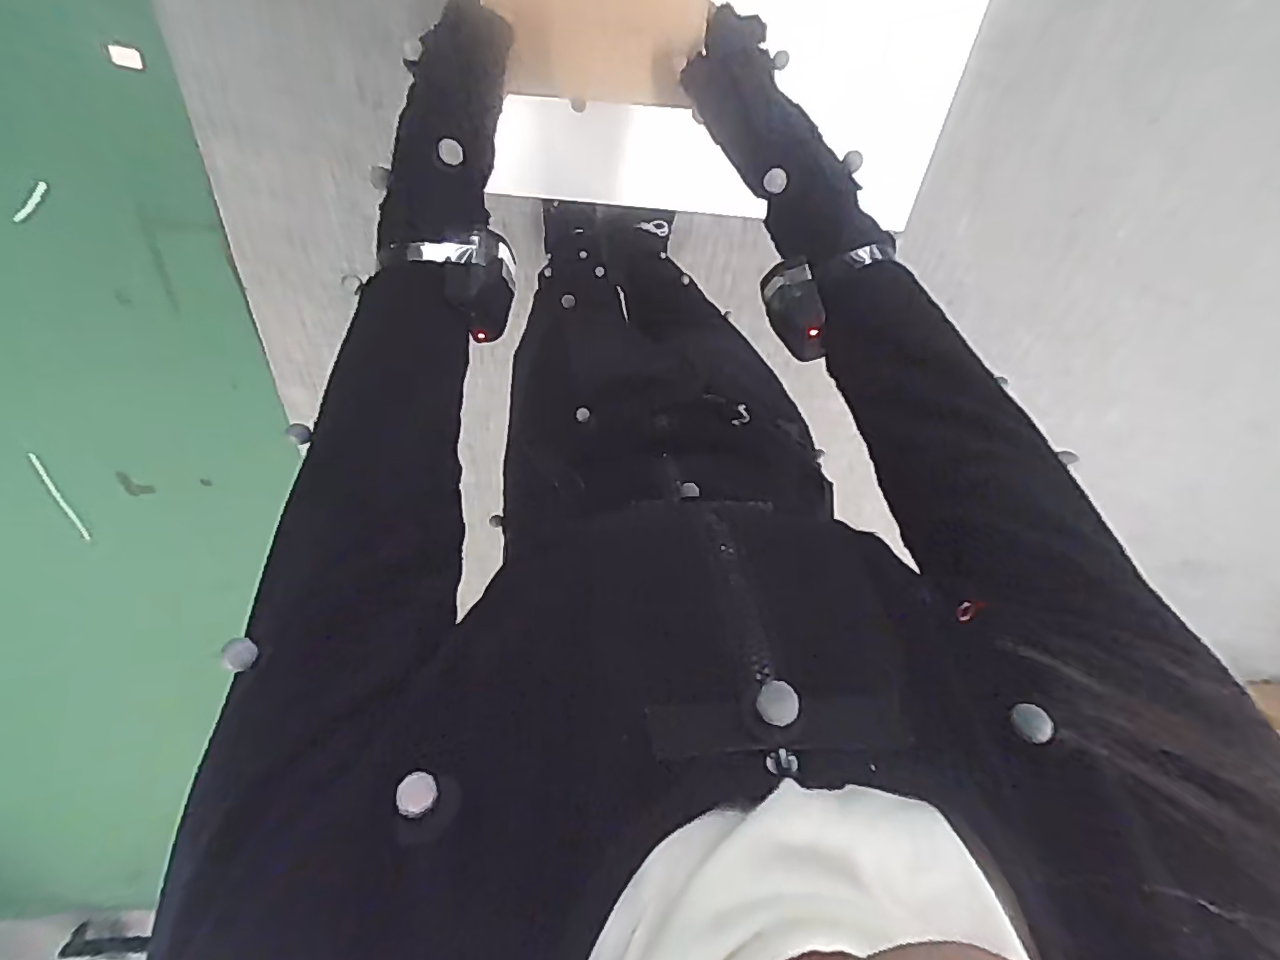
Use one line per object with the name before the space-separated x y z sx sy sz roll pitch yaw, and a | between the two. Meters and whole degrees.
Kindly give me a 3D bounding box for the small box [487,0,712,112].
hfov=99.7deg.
small box | -0.033 -0.415 0.436 0.168 0.176 0.179 0 130 -5
